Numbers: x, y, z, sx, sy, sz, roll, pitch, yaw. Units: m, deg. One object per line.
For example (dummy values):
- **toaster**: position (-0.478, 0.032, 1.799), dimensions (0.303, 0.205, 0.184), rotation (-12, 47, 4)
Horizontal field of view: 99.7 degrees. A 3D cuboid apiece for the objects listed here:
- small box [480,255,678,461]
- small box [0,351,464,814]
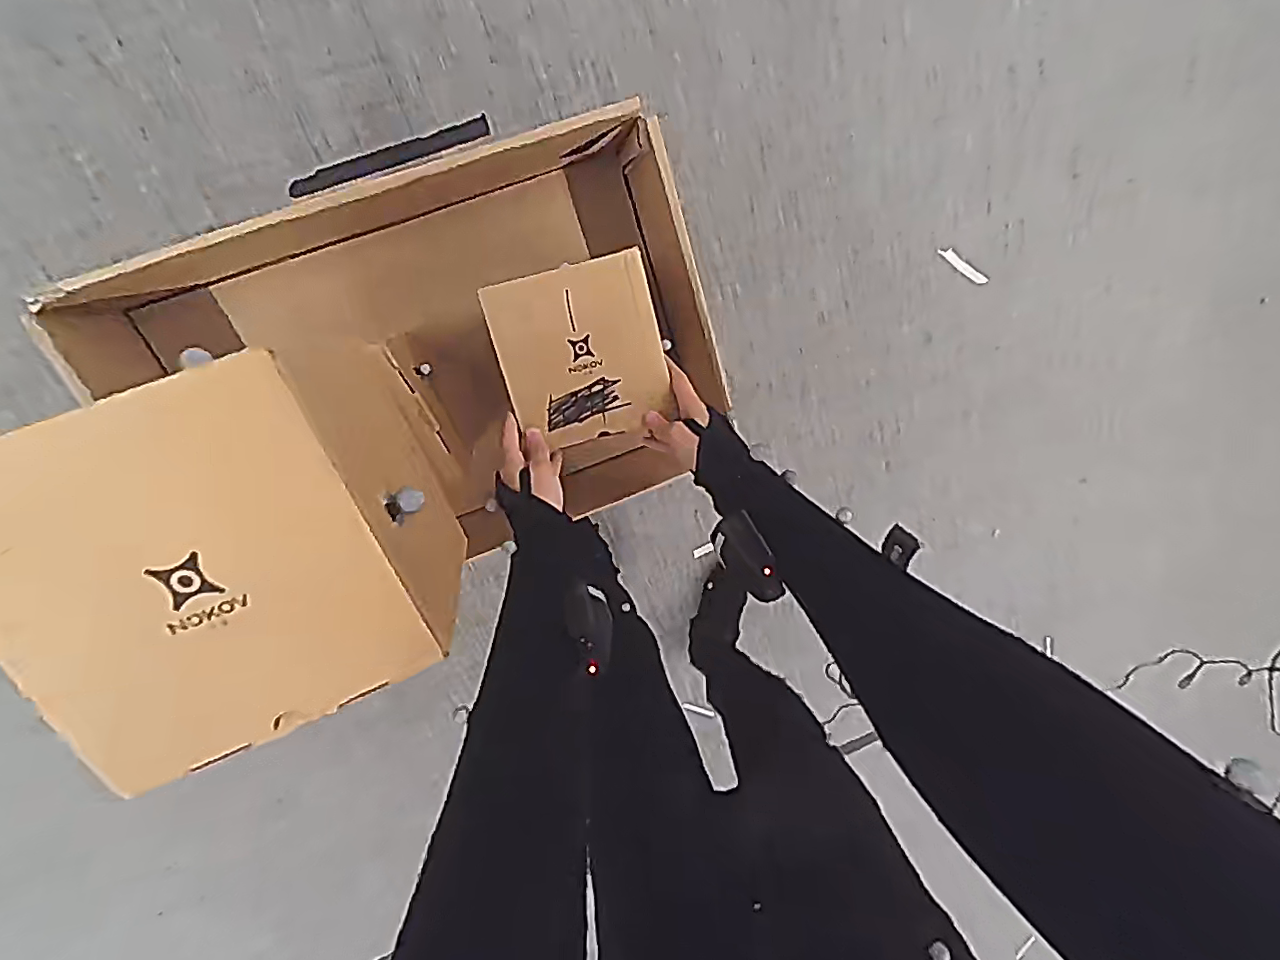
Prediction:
- **small box**: position (-0.065, -0.140, 0.622), dimensions (0.168, 0.176, 0.179), rotation (-16, 105, -2)
- **small box**: position (-0.217, 0.033, 0.316), dimensions (0.168, 0.176, 0.179), rotation (-24, 111, -8)
